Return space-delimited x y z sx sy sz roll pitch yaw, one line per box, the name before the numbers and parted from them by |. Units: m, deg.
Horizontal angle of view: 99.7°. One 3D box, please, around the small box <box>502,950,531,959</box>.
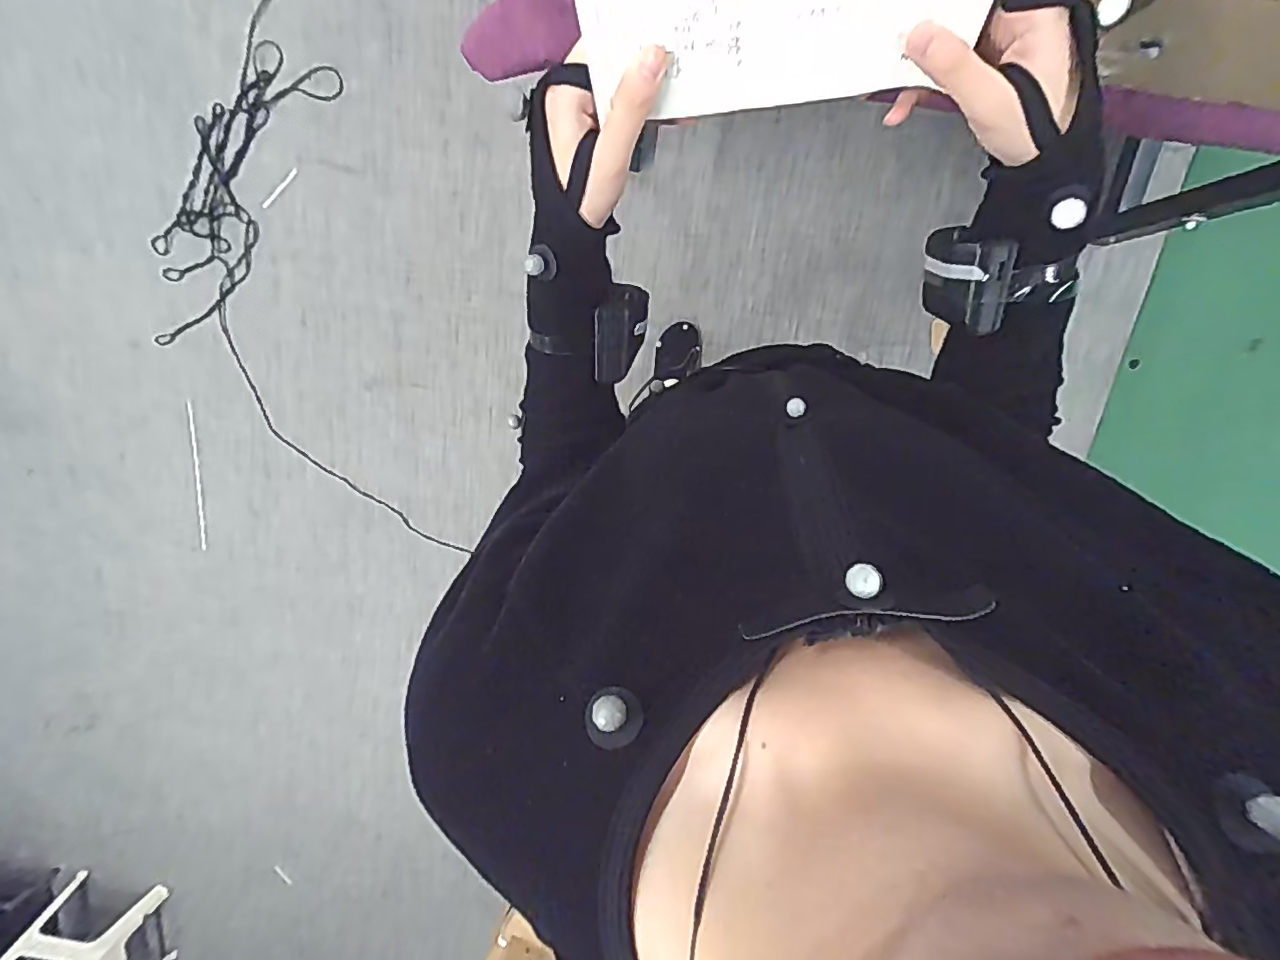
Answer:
small box | -0.356 1.483 1.508 0.168 0.176 0.179 27 106 -1
